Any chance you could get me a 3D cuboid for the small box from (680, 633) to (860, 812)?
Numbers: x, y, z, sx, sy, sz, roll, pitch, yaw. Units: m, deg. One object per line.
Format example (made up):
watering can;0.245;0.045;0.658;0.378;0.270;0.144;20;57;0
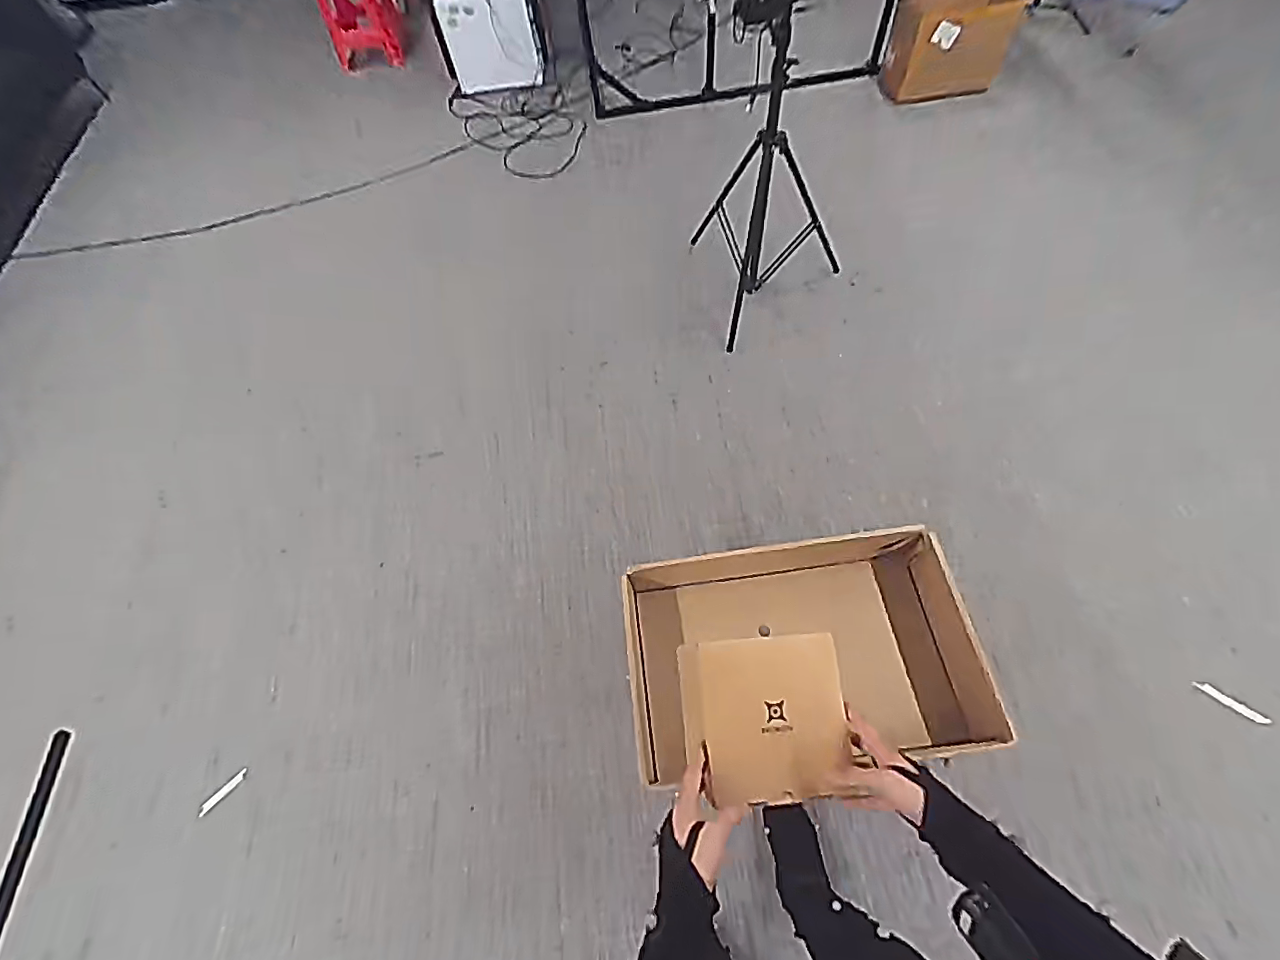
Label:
small box;0.147;0.291;0.680;0.168;0.176;0.179;-3;73;-5
